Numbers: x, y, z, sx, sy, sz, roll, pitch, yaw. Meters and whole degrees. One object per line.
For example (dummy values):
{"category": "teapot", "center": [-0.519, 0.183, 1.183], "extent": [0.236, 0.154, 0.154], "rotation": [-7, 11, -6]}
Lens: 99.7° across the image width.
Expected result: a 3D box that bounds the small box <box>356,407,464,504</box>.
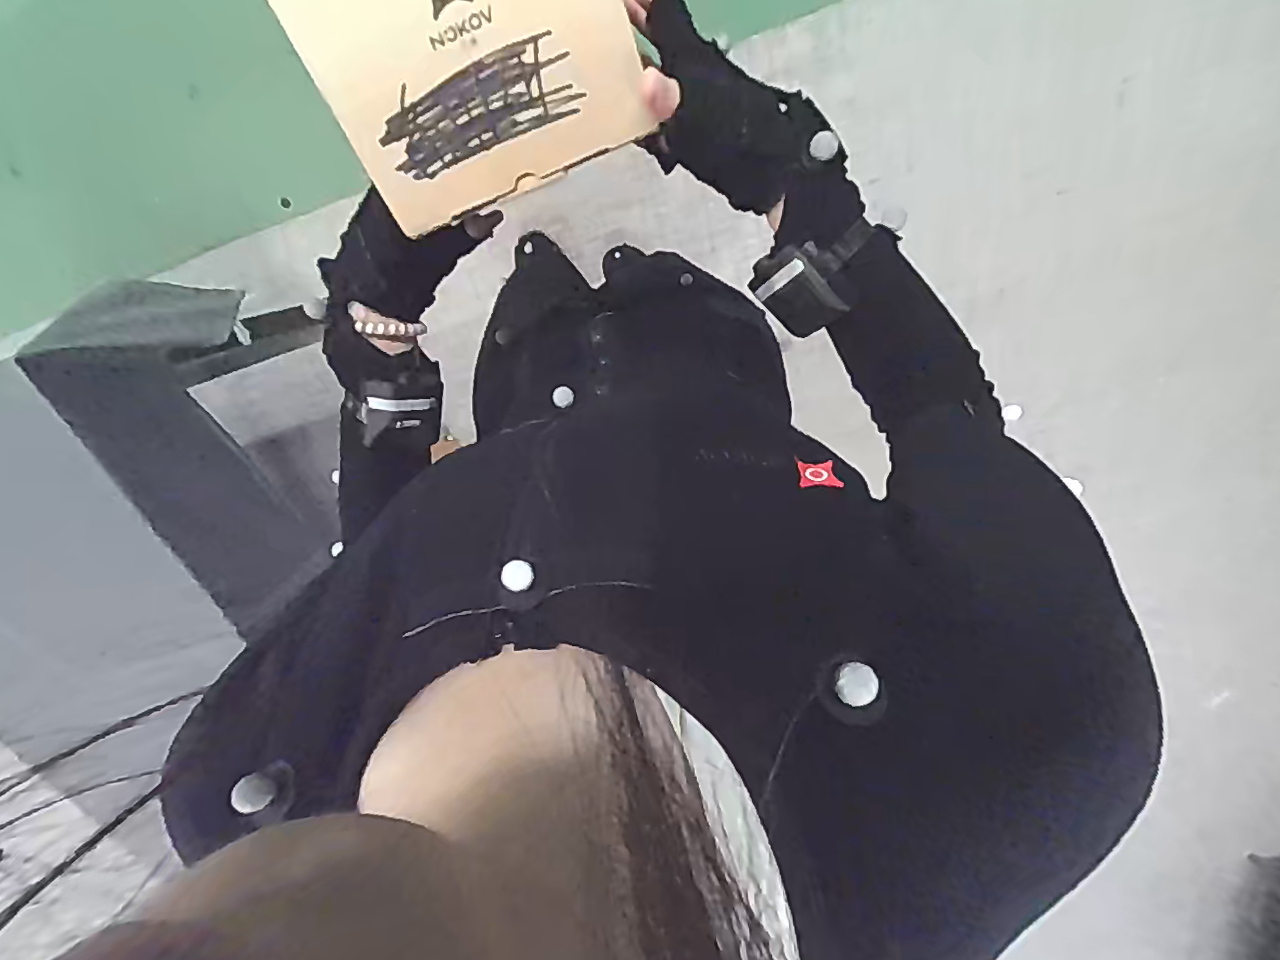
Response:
{"category": "small box", "center": [-0.611, -0.070, 1.459], "extent": [0.179, 0.176, 0.168], "rotation": [-27, 112, 14]}
